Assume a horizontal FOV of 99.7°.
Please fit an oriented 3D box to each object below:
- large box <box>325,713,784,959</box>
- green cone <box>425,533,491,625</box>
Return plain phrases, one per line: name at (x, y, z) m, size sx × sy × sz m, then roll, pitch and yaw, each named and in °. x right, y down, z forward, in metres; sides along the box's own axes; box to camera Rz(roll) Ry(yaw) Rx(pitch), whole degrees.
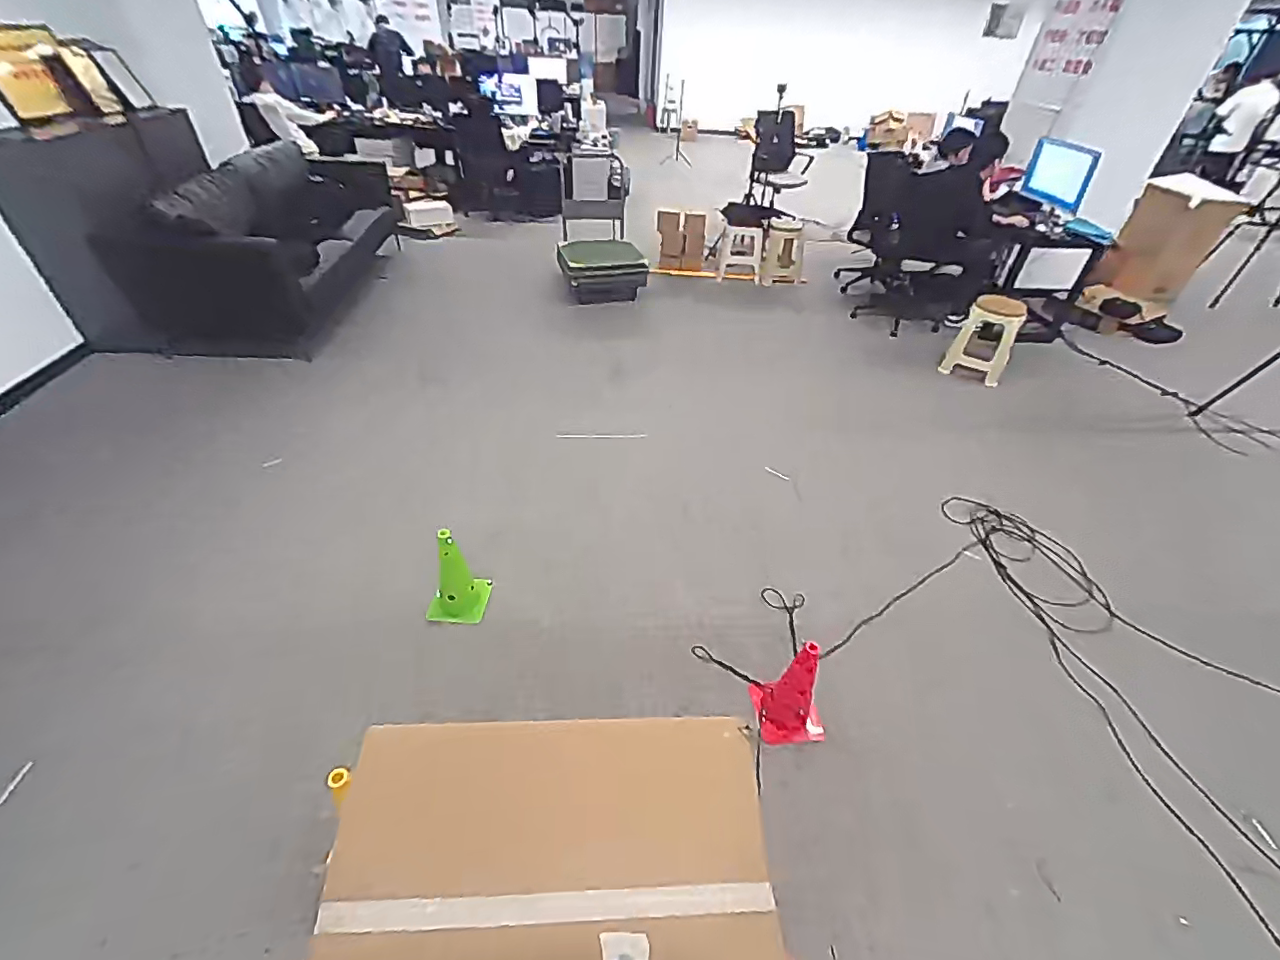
large box at (-0.082, 0.475, 0.611) m, size 0.408 × 0.320 × 0.320 m, roll 0°, pitch 52°, yaw -4°
green cone at (-0.660, 0.316, 1.875) m, size 0.200 × 0.368 × 0.202 m, roll 3°, pitch 41°, yaw 0°
